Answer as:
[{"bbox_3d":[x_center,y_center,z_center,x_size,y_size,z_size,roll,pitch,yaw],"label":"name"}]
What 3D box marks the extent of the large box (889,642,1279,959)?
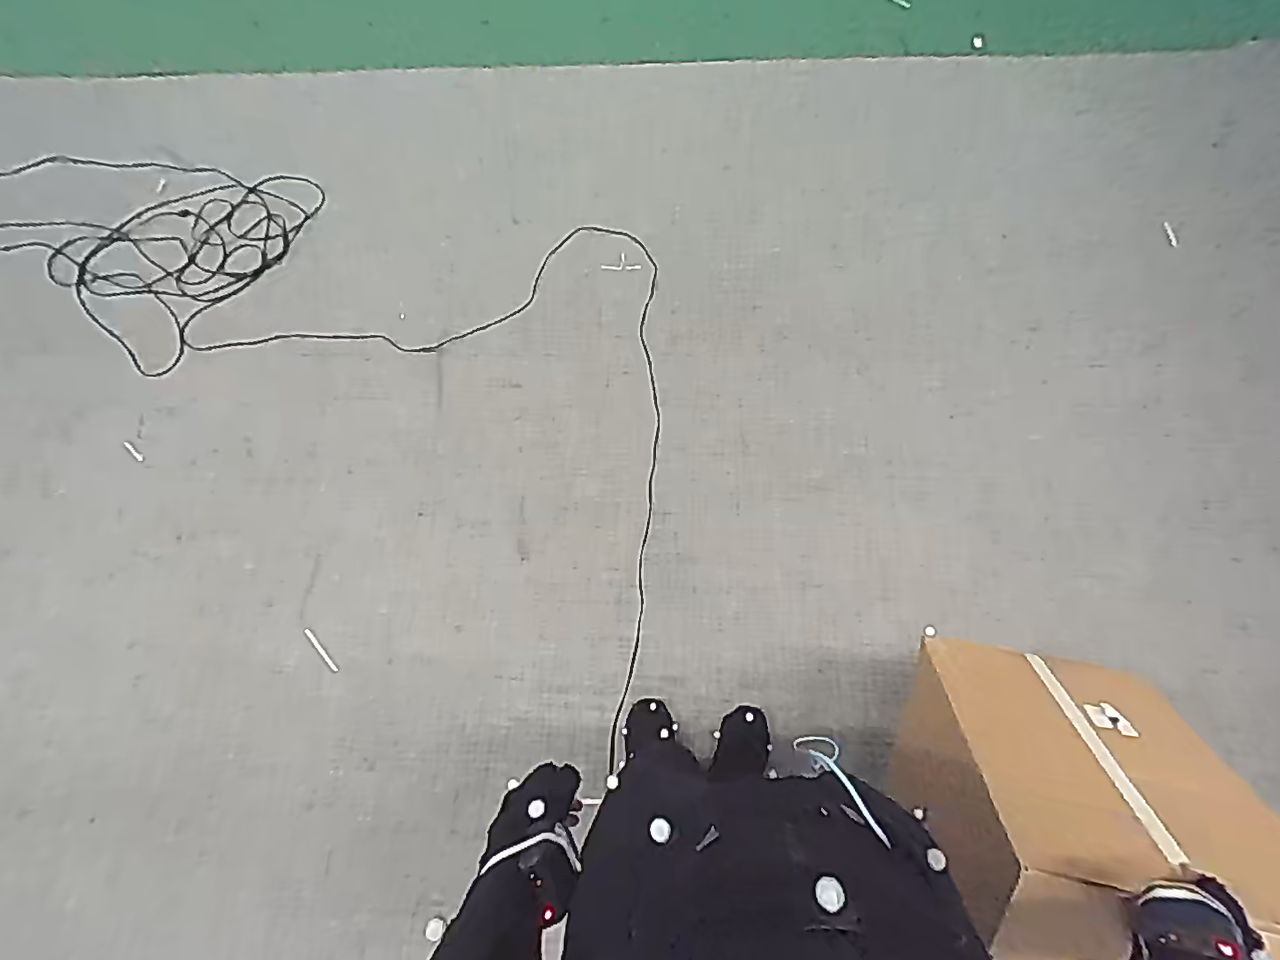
[{"bbox_3d":[0.558,0.484,0.722,0.320,0.408,0.320,9,108,12],"label":"large box"}]
